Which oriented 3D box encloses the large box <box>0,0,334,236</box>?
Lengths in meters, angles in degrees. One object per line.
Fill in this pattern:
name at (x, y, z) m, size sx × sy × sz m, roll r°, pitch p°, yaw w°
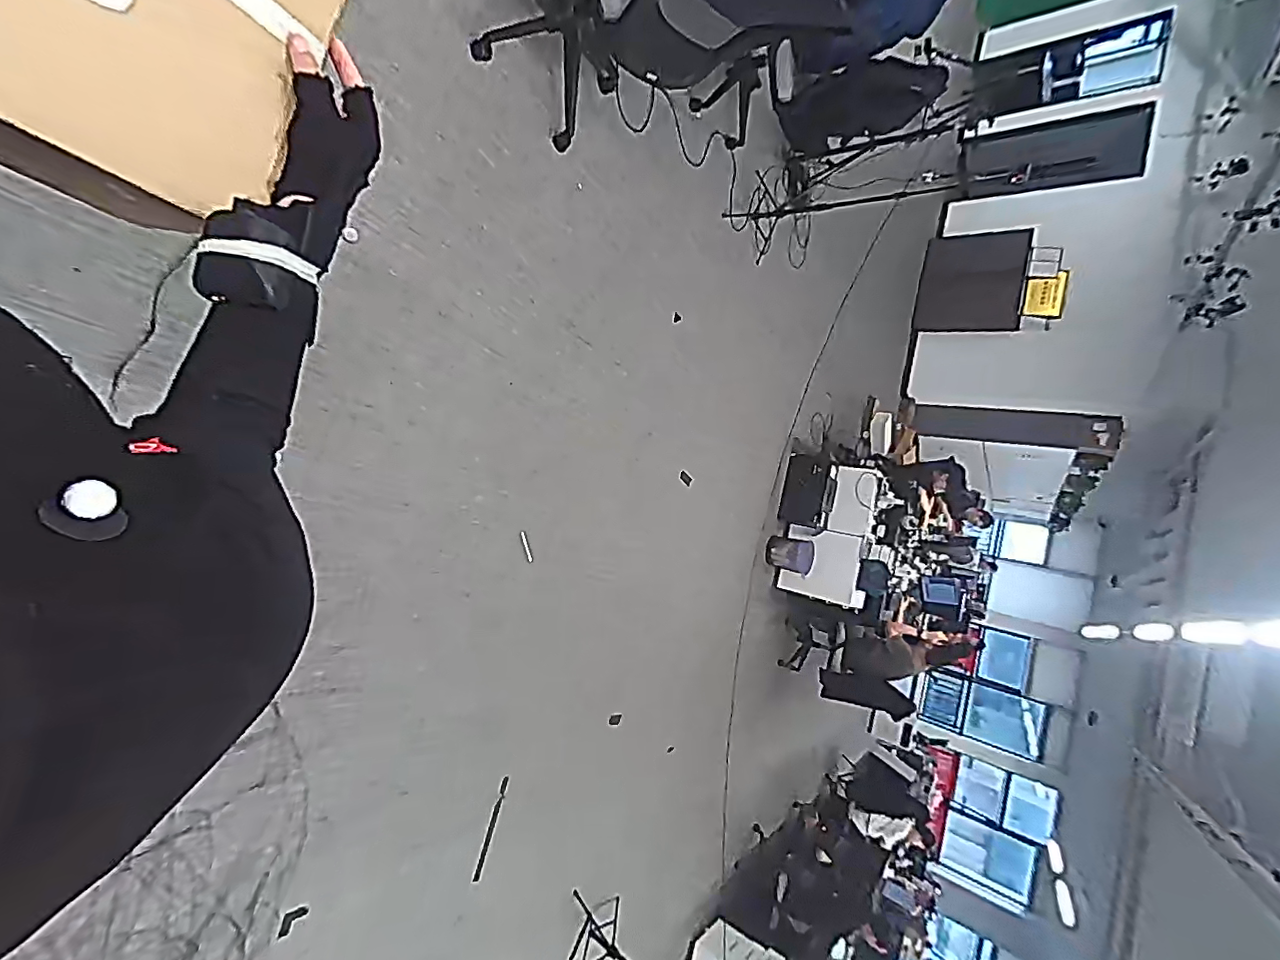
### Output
large box at (-0.491, -0.416, 0.353) m, size 0.408 × 0.320 × 0.320 m, roll 19°, pitch 91°, yaw -59°
